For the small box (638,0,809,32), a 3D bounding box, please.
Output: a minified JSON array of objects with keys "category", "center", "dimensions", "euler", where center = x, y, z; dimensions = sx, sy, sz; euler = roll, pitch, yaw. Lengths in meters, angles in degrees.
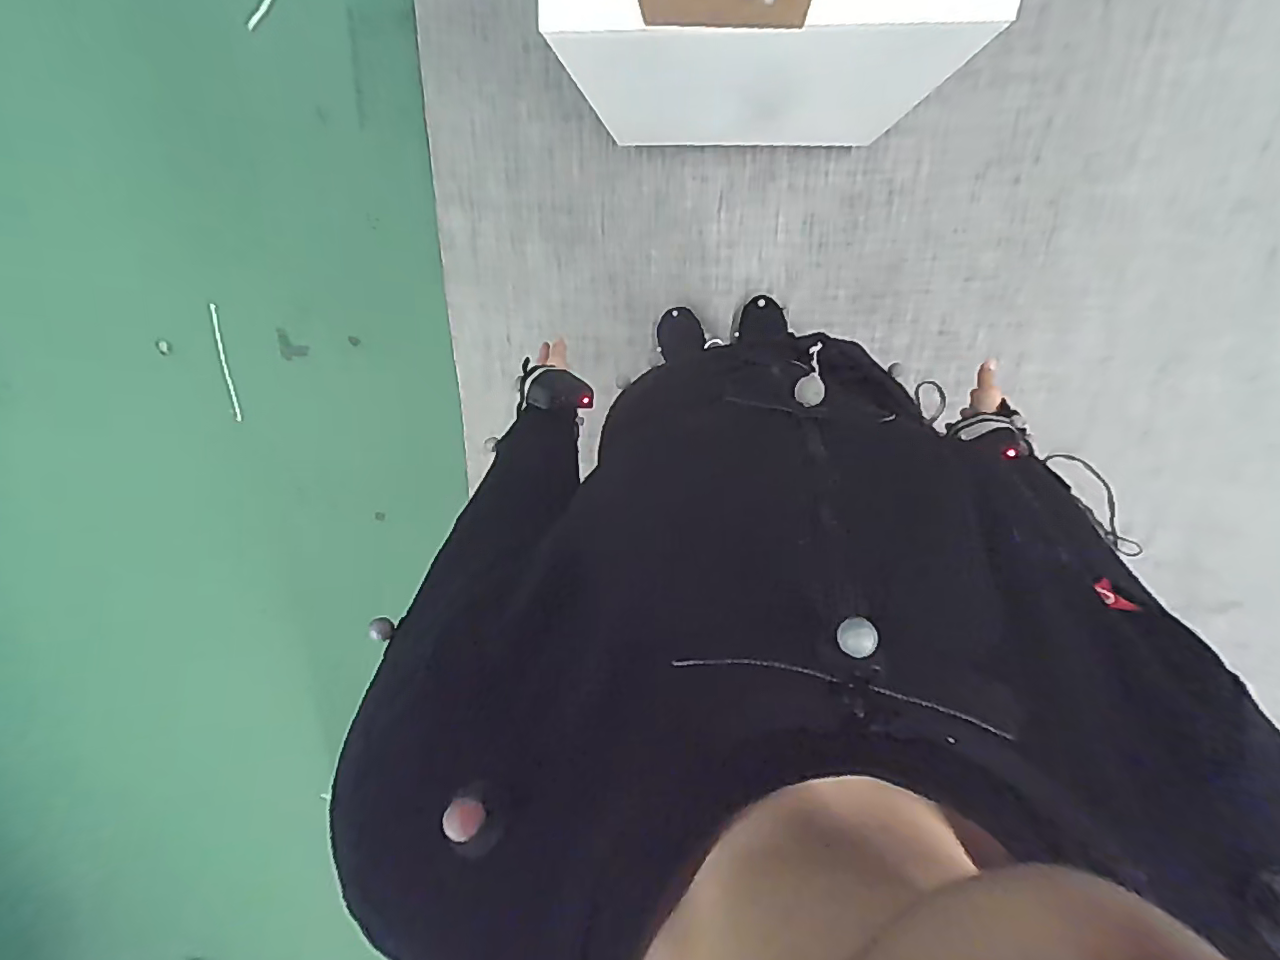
[{"category":"small box","center":[0.084,-0.537,0.483],"dimensions":[0.179,0.176,0.168],"euler":[6,108,7]}]
